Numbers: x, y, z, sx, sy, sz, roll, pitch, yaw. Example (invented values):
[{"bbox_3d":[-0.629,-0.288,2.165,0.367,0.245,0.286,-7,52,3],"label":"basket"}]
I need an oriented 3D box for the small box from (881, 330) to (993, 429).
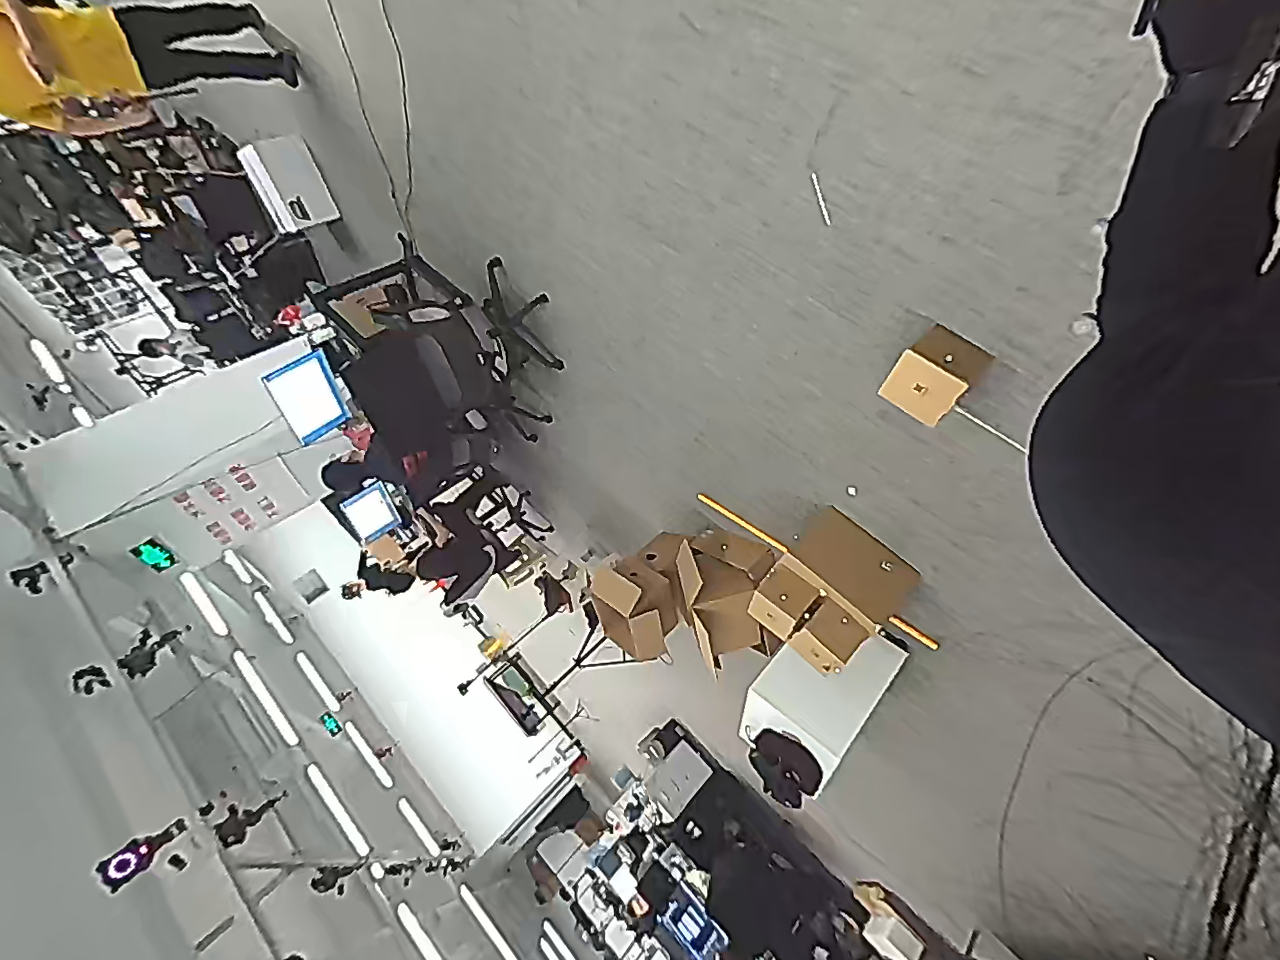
[{"bbox_3d":[0.793,-0.276,1.447,0.179,0.176,0.168,40,149,20],"label":"small box"}]
